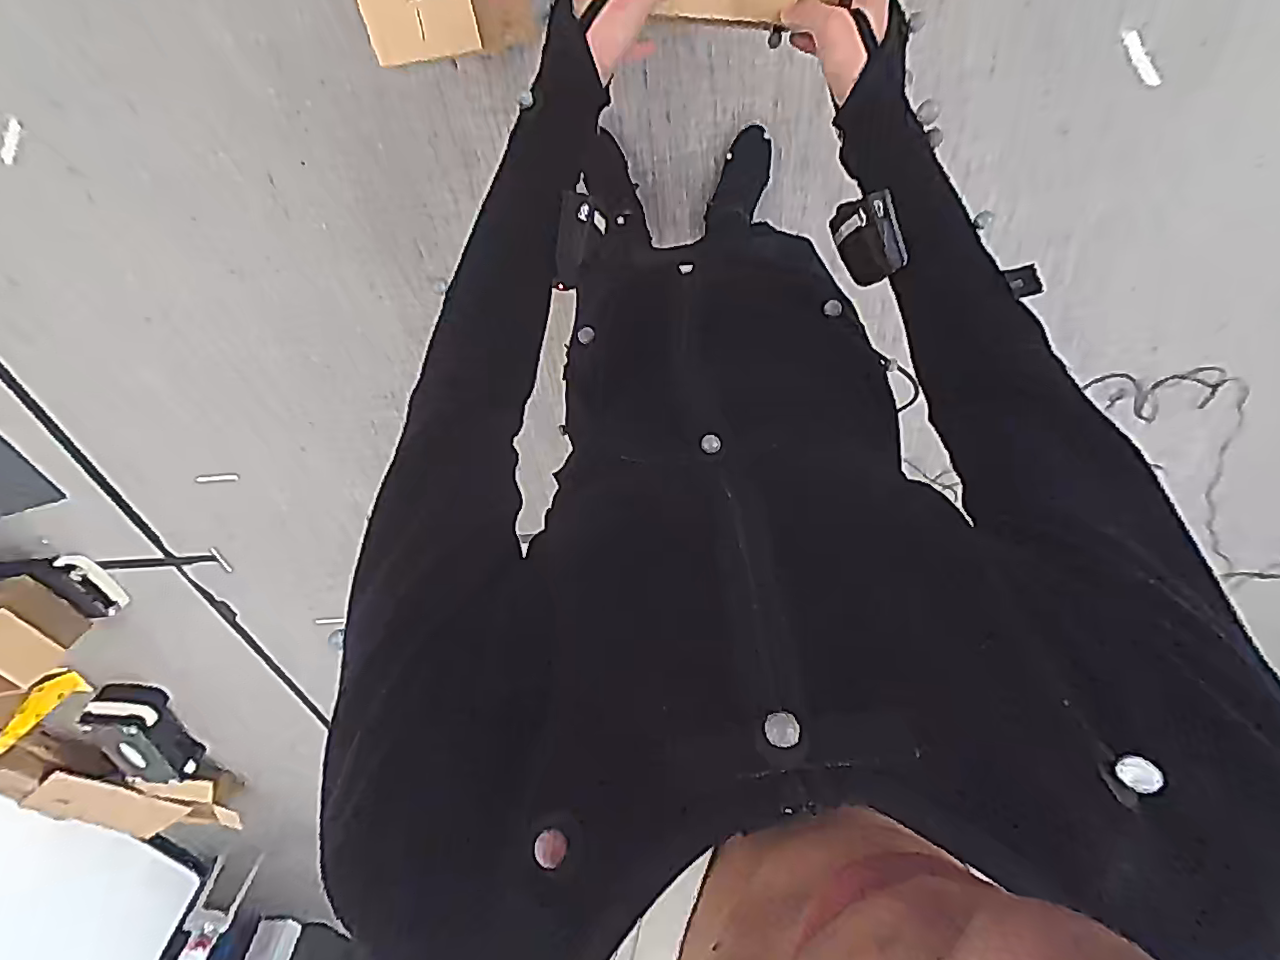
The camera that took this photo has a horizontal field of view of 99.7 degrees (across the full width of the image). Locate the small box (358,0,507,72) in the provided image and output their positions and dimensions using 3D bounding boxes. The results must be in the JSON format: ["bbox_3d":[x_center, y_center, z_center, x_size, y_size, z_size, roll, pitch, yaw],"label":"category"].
[{"bbox_3d":[-0.317,-0.739,0.820,0.168,0.176,0.179,-4,128,6],"label":"small box"}]

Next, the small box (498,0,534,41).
[{"bbox_3d":[-0.302,-0.859,0.934,0.179,0.176,0.168,-8,127,8],"label":"small box"}]

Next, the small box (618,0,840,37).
[{"bbox_3d":[0.071,-0.476,0.444,0.179,0.176,0.168,0,129,-4],"label":"small box"}]

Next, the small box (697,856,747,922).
[{"bbox_3d":[0.310,1.560,2.064,0.179,0.176,0.168,-6,129,7],"label":"small box"}]

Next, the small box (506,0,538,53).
[{"bbox_3d":[-0.312,-0.955,1.068,0.168,0.176,0.179,-7,127,7],"label":"small box"}]
